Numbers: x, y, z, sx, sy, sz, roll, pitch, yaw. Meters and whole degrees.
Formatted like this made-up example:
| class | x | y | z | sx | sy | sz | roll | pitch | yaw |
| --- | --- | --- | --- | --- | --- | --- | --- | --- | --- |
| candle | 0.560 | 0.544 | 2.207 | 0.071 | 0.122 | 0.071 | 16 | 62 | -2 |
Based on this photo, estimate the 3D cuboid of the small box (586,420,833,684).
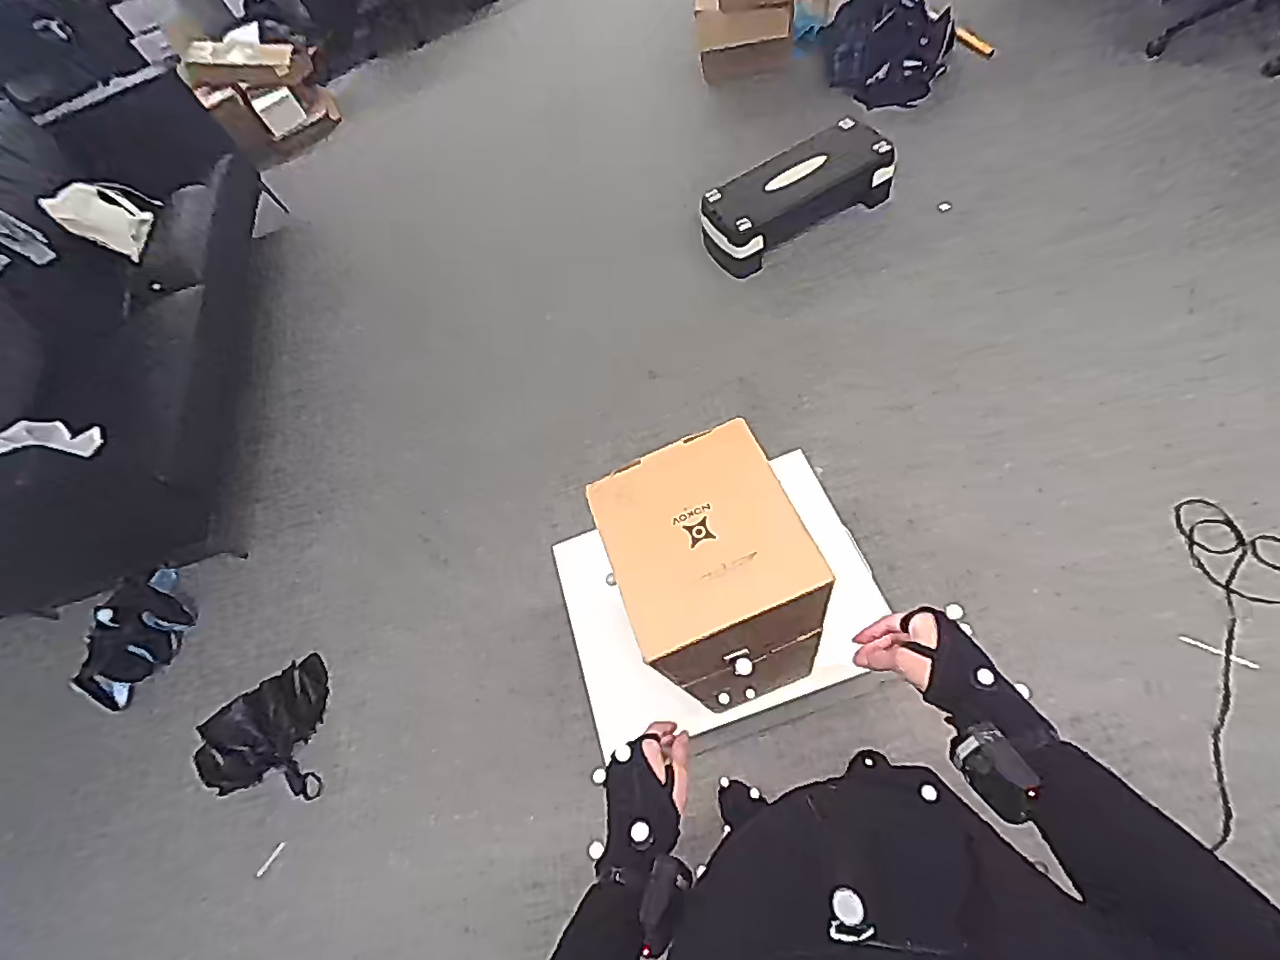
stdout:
| class | x | y | z | sx | sy | sz | roll | pitch | yaw |
| --- | --- | --- | --- | --- | --- | --- | --- | --- | --- |
| small box | 0.067 | 0.079 | 0.534 | 0.168 | 0.176 | 0.179 | -25 | 59 | 2 |

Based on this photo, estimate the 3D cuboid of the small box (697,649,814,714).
| class | x | y | z | sx | sy | sz | roll | pitch | yaw |
| --- | --- | --- | --- | --- | --- | --- | --- | --- | --- |
| small box | 0.143 | 0.231 | 0.816 | 0.168 | 0.176 | 0.179 | -25 | 59 | 1 |

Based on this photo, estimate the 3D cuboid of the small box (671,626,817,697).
| class | x | y | z | sx | sy | sz | roll | pitch | yaw |
| --- | --- | --- | --- | --- | --- | --- | --- | --- | --- |
| small box | 0.104 | 0.155 | 0.674 | 0.168 | 0.176 | 0.179 | -24 | 57 | 1 |
